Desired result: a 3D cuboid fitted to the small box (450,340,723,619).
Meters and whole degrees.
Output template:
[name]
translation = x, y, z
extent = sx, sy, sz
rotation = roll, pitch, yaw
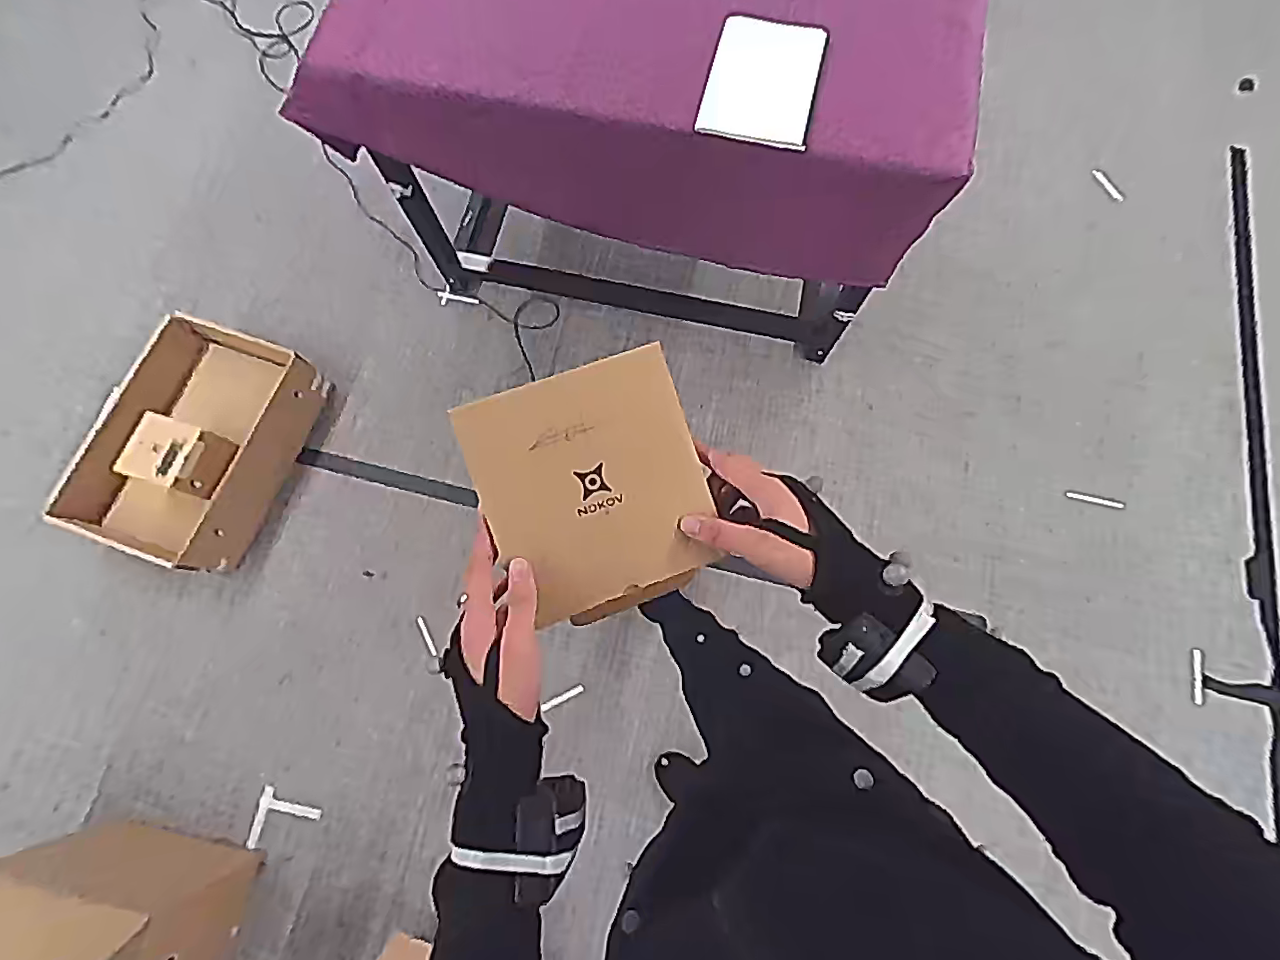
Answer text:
[small box]
translation = -0.046, -0.004, 0.485
extent = 0.168, 0.176, 0.179
rotation = -19, 94, -7
